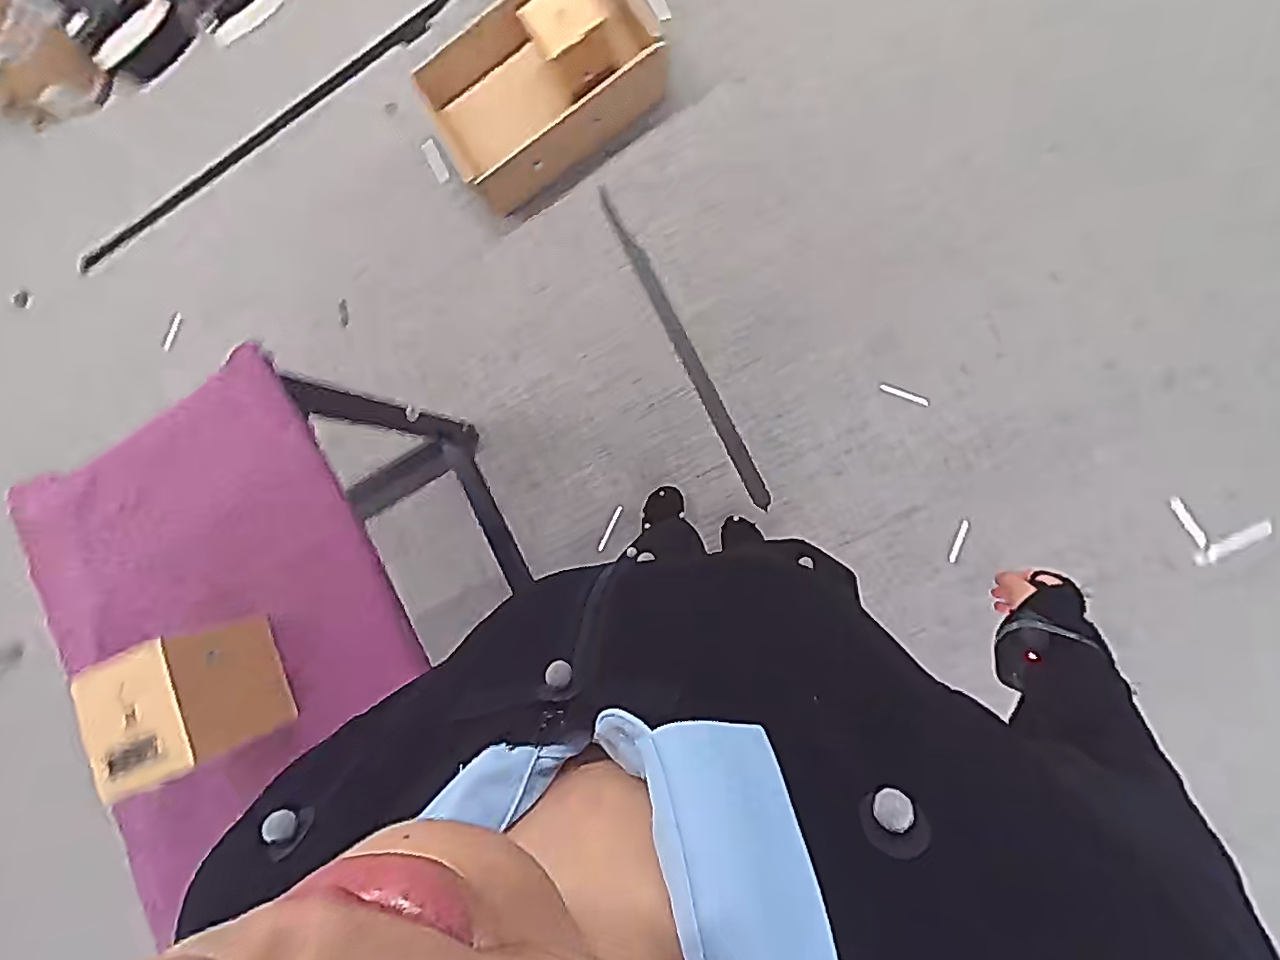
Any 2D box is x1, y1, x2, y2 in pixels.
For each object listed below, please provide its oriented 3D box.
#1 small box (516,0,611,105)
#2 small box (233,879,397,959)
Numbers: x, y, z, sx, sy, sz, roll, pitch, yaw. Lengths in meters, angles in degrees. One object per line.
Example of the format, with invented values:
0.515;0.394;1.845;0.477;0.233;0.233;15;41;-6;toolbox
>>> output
-0.203;-1.190;1.482;0.168;0.176;0.179;-33;82;8;small box
-0.463;0.702;0.744;0.179;0.176;0.168;-28;82;8;small box
